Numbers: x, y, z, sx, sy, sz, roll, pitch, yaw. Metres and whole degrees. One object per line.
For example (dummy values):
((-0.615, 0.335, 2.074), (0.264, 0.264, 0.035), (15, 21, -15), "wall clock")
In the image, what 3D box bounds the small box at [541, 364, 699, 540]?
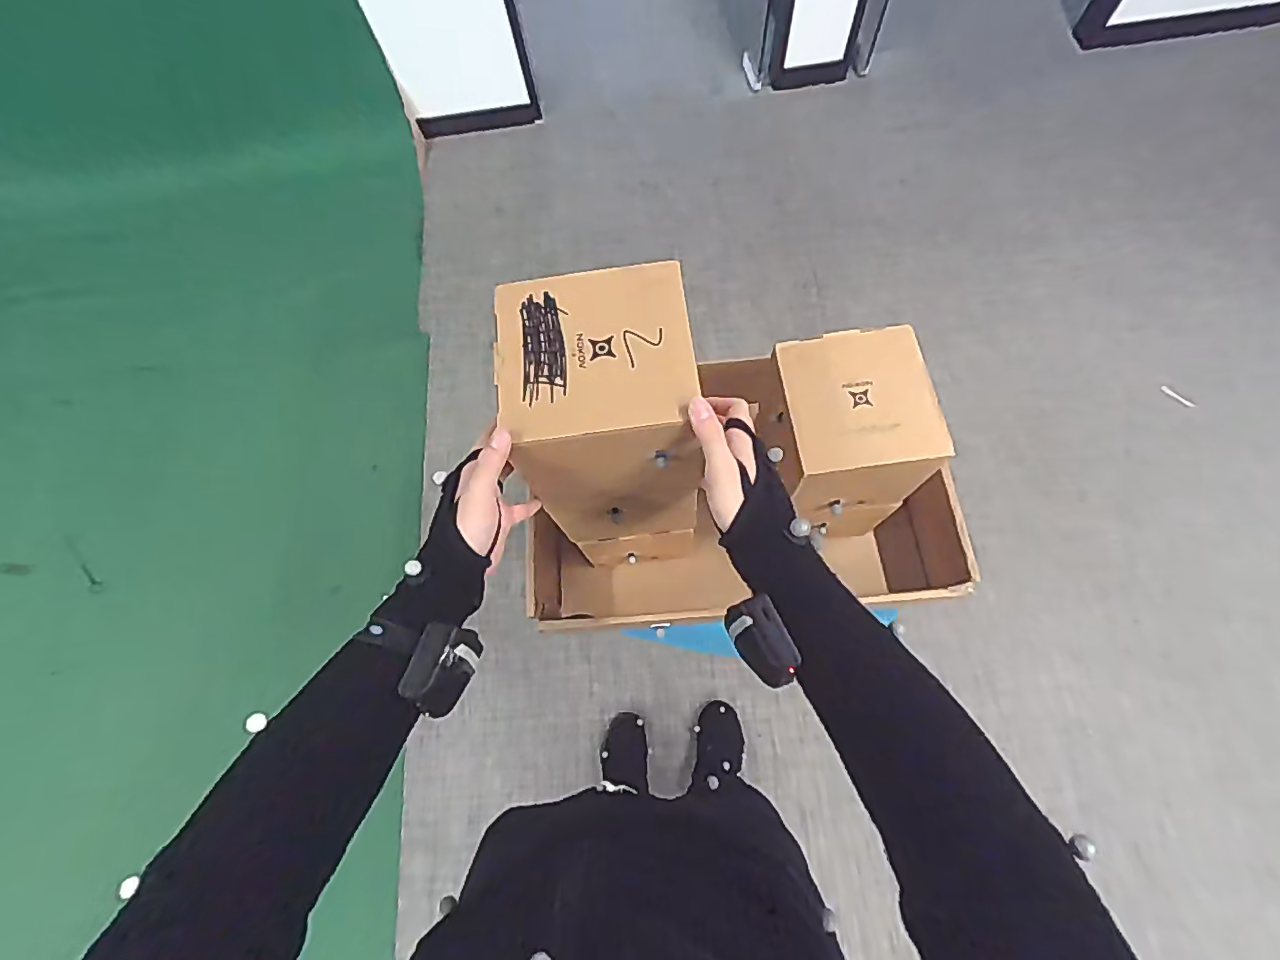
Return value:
((-0.020, -0.026, 0.699), (0.179, 0.176, 0.168), (-7, 70, 2), "small box")

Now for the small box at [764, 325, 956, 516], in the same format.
((0.260, -0.067, 0.689), (0.168, 0.176, 0.179), (-7, 69, 3), "small box")
